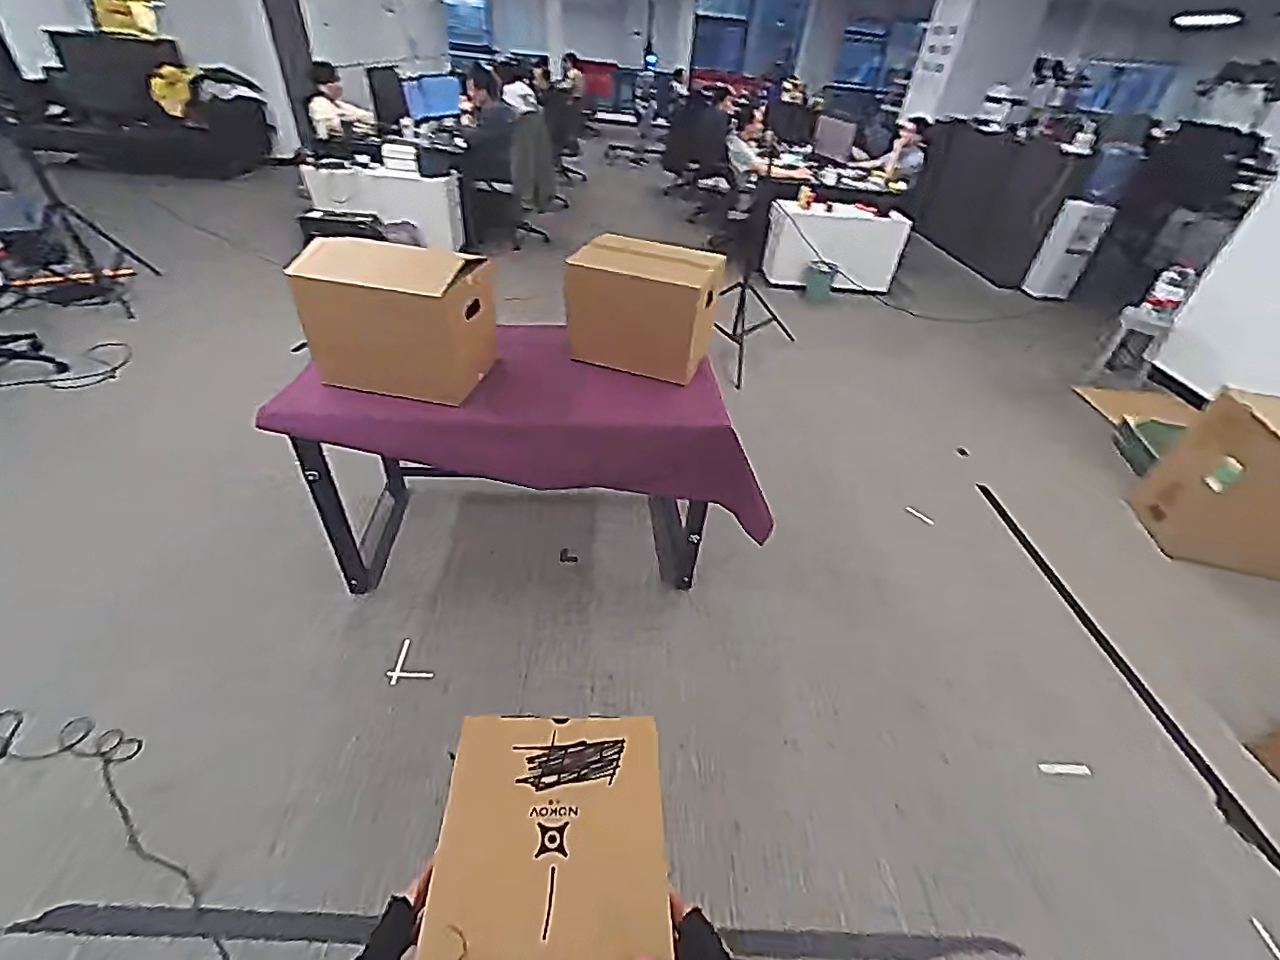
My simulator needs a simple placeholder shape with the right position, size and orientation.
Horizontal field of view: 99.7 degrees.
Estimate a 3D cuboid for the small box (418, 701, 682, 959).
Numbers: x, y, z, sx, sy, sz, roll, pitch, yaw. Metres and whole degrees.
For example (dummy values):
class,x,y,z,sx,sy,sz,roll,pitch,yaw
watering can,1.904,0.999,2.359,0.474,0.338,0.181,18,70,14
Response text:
class,x,y,z,sx,sy,sz,roll,pitch,yaw
small box,-0.068,0.307,0.445,0.168,0.176,0.179,2,37,-7
